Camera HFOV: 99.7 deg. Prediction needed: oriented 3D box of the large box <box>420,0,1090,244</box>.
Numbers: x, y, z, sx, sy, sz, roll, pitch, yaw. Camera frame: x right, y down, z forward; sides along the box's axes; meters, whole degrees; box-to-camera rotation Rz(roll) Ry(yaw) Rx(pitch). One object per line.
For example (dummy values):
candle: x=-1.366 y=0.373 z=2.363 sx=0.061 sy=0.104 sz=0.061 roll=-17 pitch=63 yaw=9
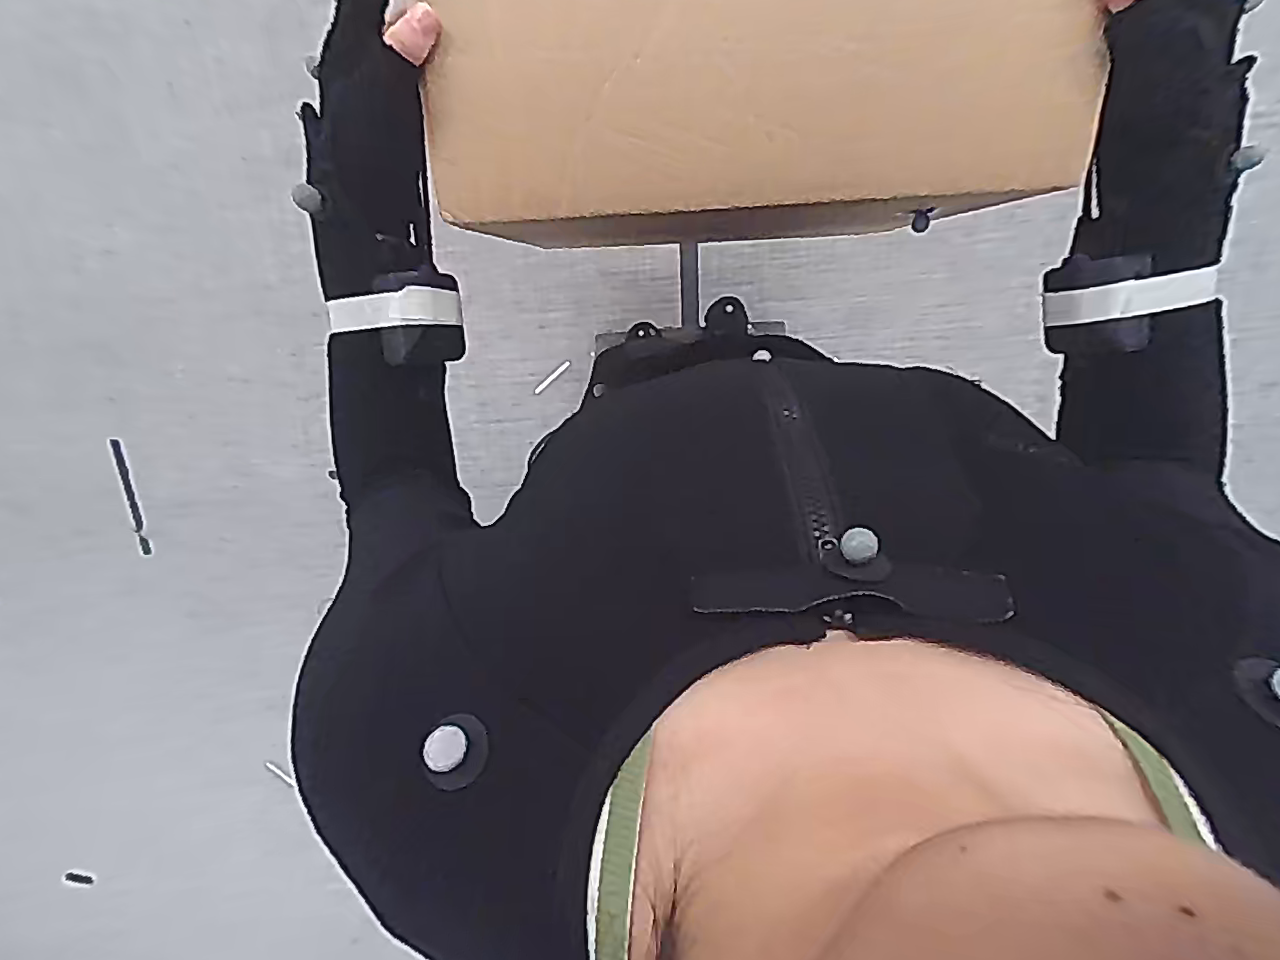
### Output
large box: x=0.070 y=-0.379 z=0.444 sx=0.408 sy=0.320 sz=0.320 roll=-2 pitch=110 yaw=3

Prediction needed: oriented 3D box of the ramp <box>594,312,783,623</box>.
ramp: x=0.160 y=0.027 z=1.608 sx=0.509 sy=0.206 sz=0.991 roll=-5 pitch=107 yaw=3
